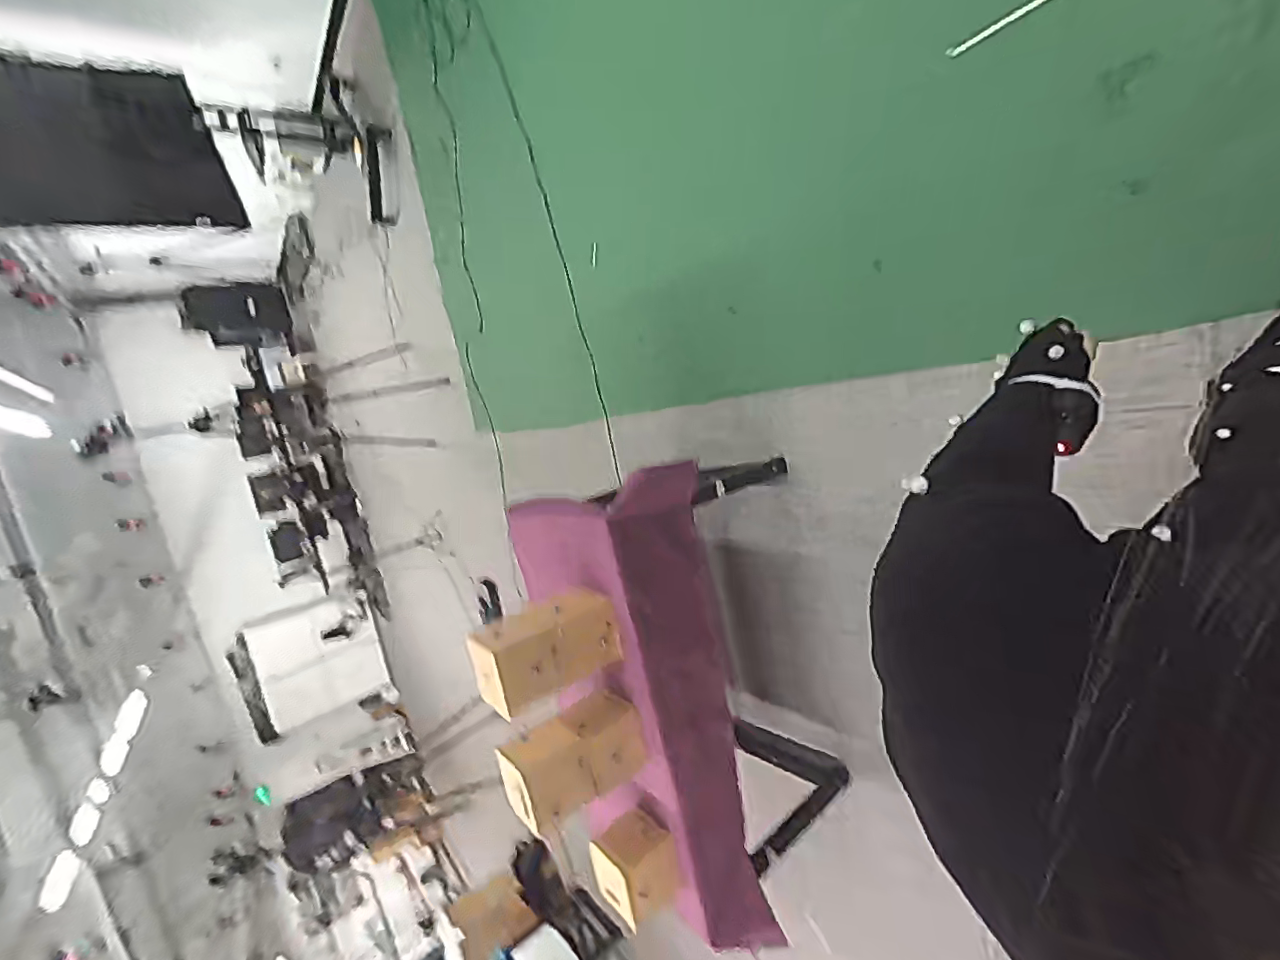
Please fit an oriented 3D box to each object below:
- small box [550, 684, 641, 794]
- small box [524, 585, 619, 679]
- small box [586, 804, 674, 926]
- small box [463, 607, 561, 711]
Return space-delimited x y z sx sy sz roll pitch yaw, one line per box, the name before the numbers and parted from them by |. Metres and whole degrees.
small box | -0.116 0.692 1.465 0.168 0.176 0.179 2 106 52
small box | -0.180 0.390 1.426 0.179 0.176 0.168 4 107 51
small box | -0.023 1.045 1.485 0.168 0.176 0.179 1 104 52
small box | -0.306 0.428 1.328 0.179 0.176 0.168 2 105 52
